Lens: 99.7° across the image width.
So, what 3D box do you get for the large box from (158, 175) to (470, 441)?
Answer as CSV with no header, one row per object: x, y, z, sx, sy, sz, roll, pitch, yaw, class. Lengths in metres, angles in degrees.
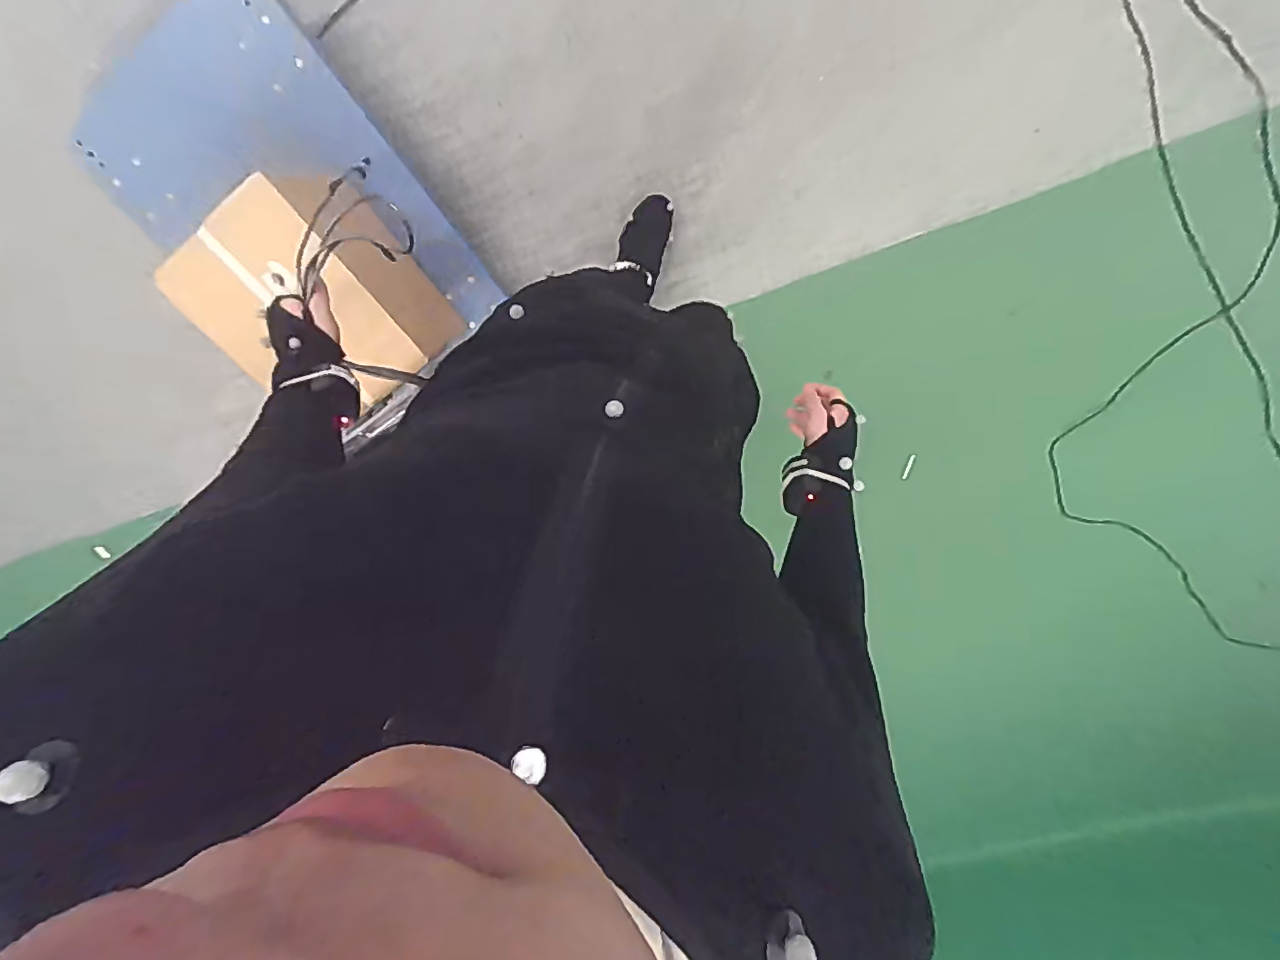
-0.645,-0.365,1.153,0.320,0.320,0.408,-32,113,14,large box
